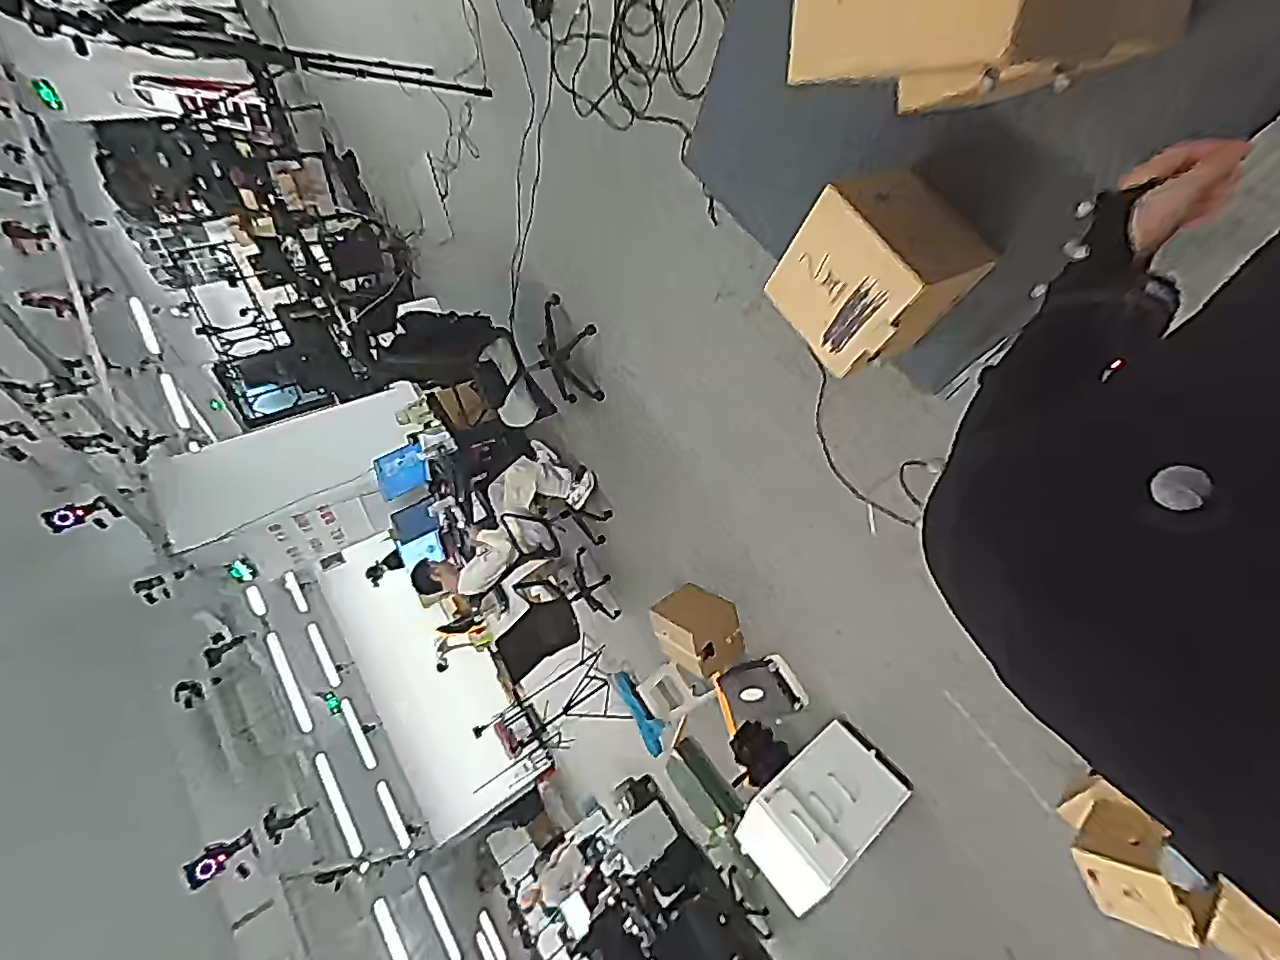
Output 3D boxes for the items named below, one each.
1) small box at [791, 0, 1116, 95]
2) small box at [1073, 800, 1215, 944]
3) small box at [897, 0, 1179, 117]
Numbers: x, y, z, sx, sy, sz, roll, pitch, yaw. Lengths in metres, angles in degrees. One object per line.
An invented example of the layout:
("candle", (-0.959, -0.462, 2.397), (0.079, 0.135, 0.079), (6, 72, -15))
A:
("small box", (0.238, -0.392, 0.394), (0.179, 0.176, 0.168), (34, 139, 44))
("small box", (1.123, 0.851, 1.200), (0.168, 0.176, 0.179), (63, 150, 1))
("small box", (0.359, -0.452, 0.486), (0.179, 0.176, 0.168), (21, 130, 52))
